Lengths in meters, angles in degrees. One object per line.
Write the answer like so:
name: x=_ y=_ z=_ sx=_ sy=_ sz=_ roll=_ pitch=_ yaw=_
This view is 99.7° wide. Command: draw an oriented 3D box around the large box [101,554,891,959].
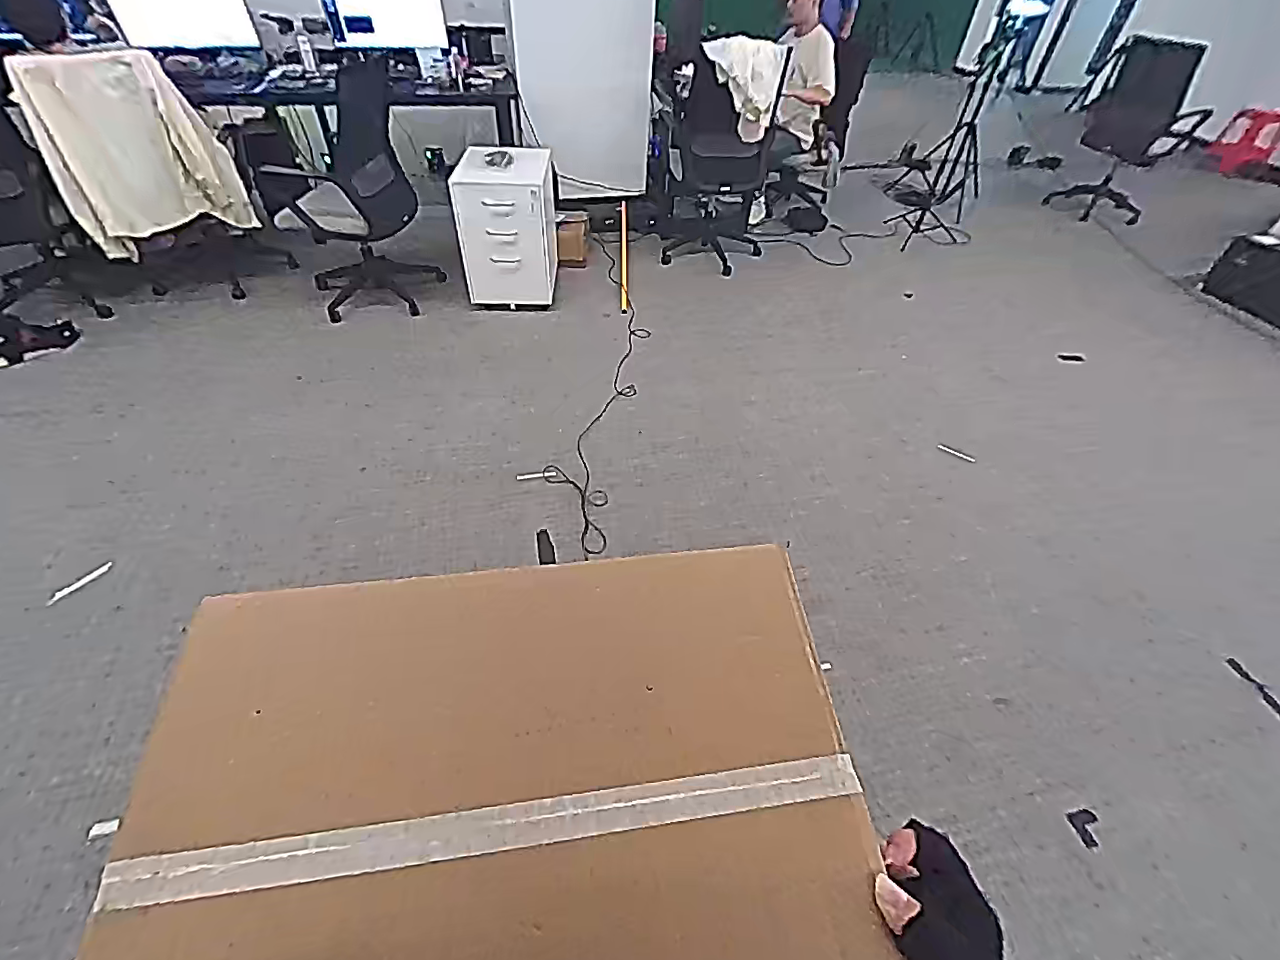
large box: x=-0.081 y=0.283 z=0.432 sx=0.408 sy=0.320 sz=0.320 roll=-5 pitch=55 yaw=-6
